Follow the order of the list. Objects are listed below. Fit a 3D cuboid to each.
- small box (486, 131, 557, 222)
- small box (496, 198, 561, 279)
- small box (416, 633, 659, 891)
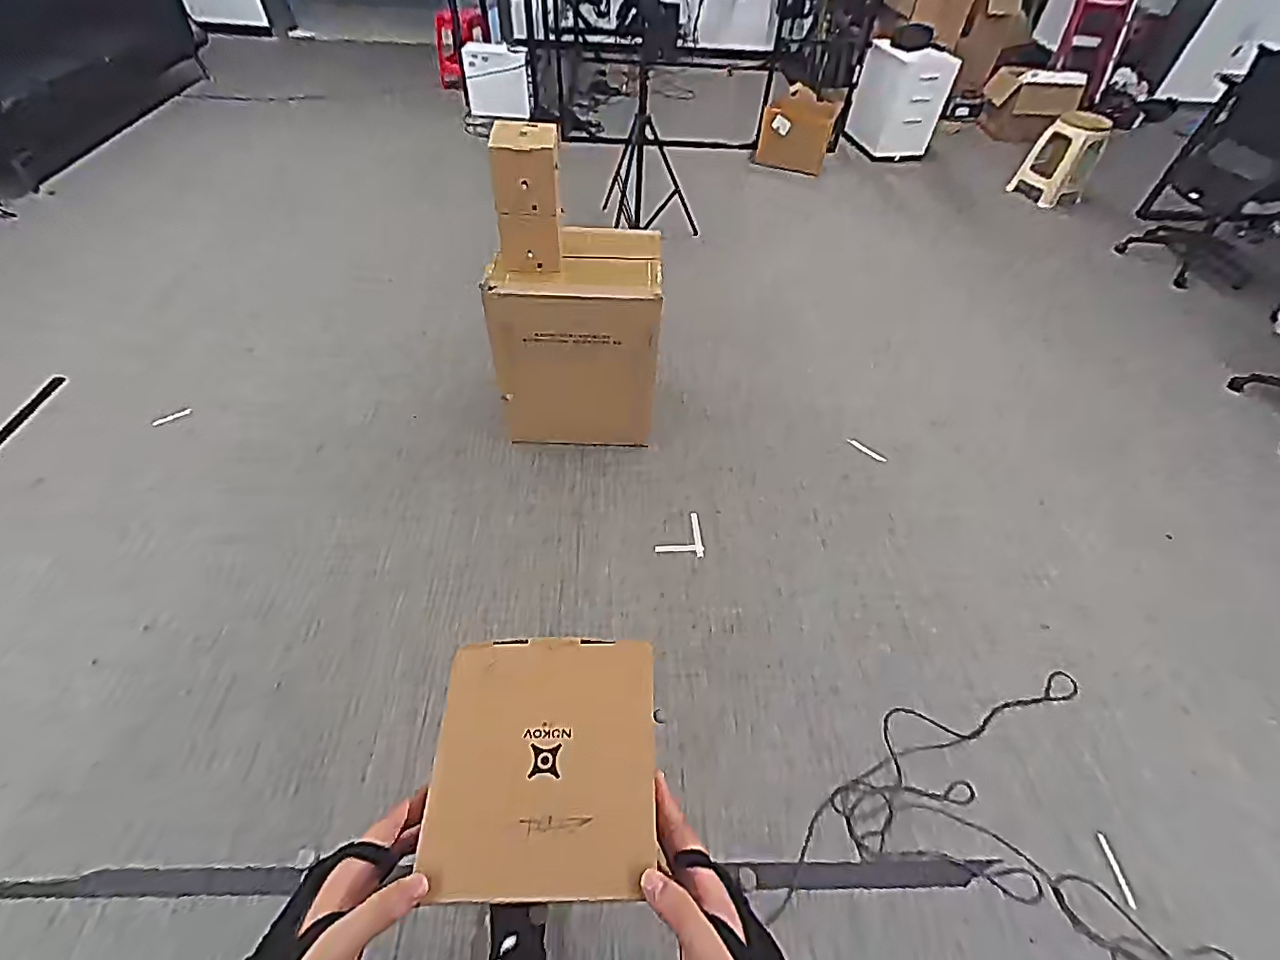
[{"bbox_3d":[-0.315,-0.824,1.474,0.168,0.176,0.179,-1,51,-5],"label":"small box"},{"bbox_3d":[-0.323,-0.718,1.600,0.168,0.176,0.179,0,51,-4],"label":"small box"},{"bbox_3d":[-0.071,0.249,0.474,0.168,0.176,0.179,0,53,-1],"label":"small box"}]
